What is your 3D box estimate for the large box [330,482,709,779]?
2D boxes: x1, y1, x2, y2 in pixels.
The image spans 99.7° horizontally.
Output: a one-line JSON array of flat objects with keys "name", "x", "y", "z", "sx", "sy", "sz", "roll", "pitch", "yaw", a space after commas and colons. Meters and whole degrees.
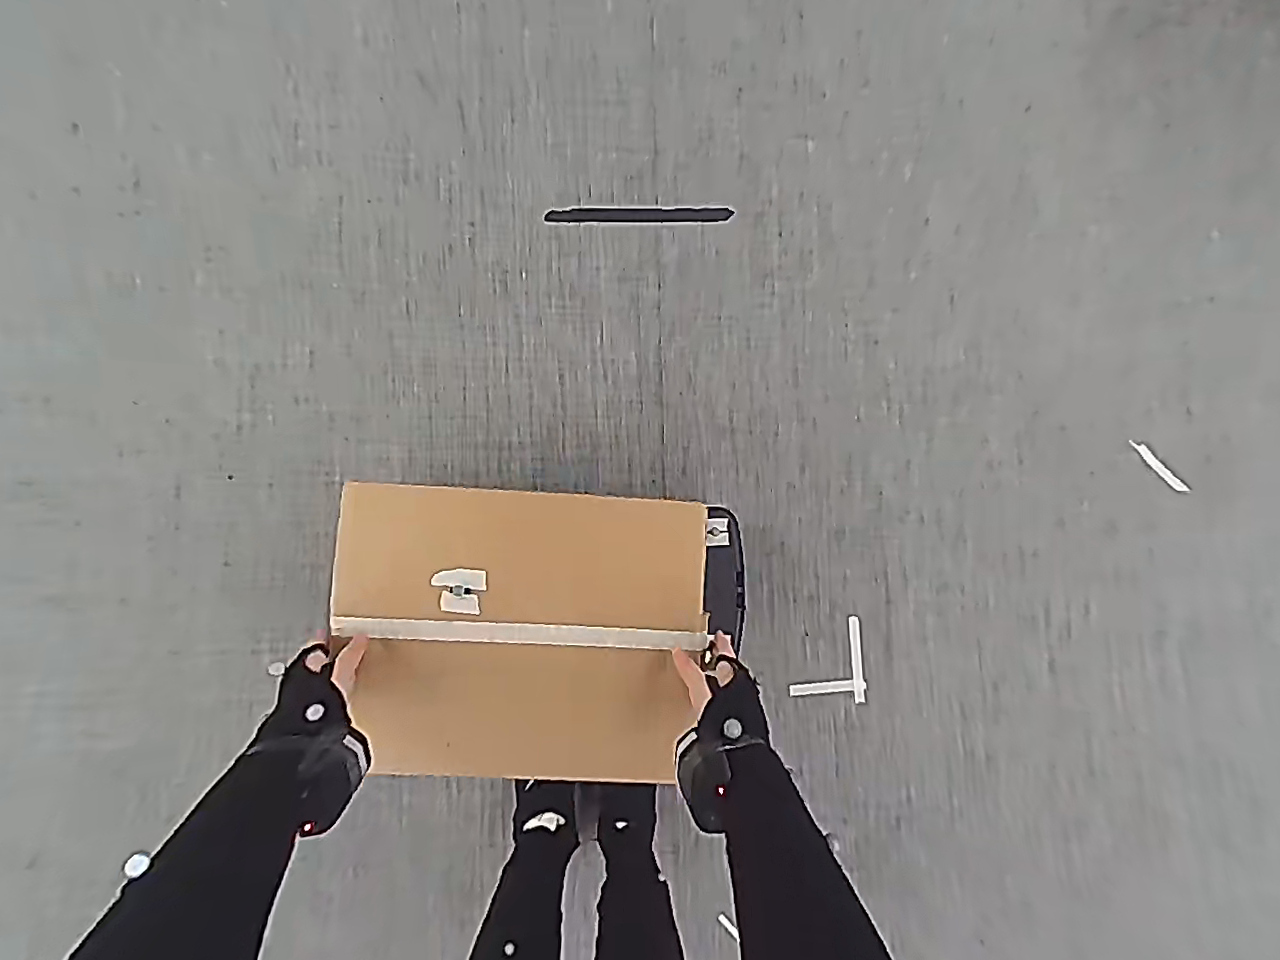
[{"name": "large box", "x": -0.130, "y": 0.171, "z": 0.738, "sx": 0.408, "sy": 0.320, "sz": 0.320, "roll": 4, "pitch": 86, "yaw": -2}]

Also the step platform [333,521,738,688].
[{"name": "step platform", "x": -0.169, "y": 0.189, "z": 0.974, "sx": 0.684, "sy": 0.204, "sz": 0.286, "roll": 6, "pitch": 86, "yaw": -2}]
